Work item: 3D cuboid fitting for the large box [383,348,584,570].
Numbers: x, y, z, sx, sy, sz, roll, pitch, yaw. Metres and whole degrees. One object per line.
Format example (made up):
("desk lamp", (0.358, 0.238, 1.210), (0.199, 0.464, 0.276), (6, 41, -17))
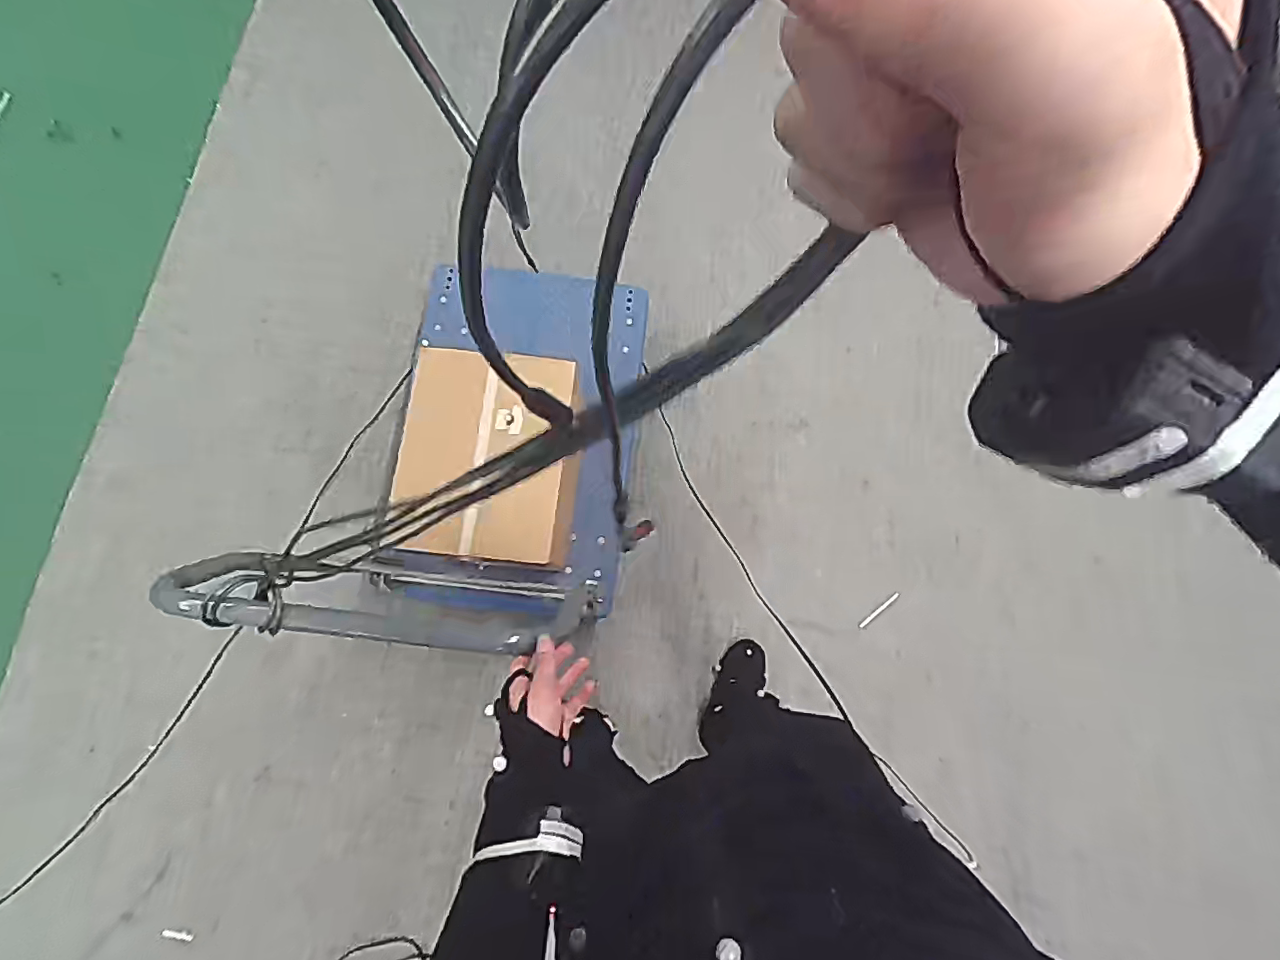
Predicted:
("large box", (-0.306, -0.024, 1.174), (0.320, 0.320, 0.408), (6, 78, 0))
